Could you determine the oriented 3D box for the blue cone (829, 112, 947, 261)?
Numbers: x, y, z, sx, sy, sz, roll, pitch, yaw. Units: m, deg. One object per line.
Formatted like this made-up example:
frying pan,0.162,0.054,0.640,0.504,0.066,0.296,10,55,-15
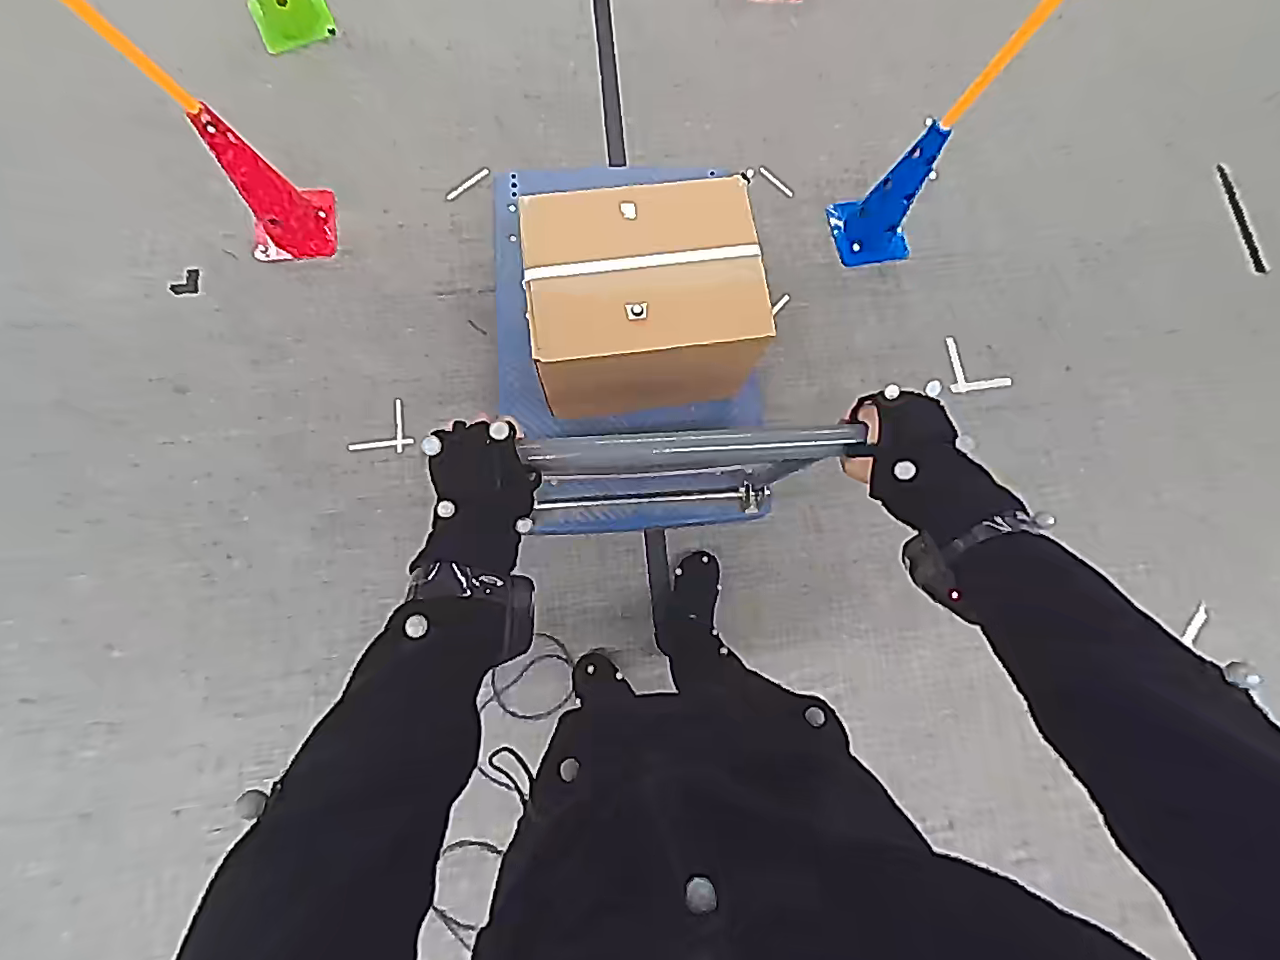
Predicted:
blue cone,0.650,-0.740,1.361,0.193,0.380,0.192,-9,78,-6
